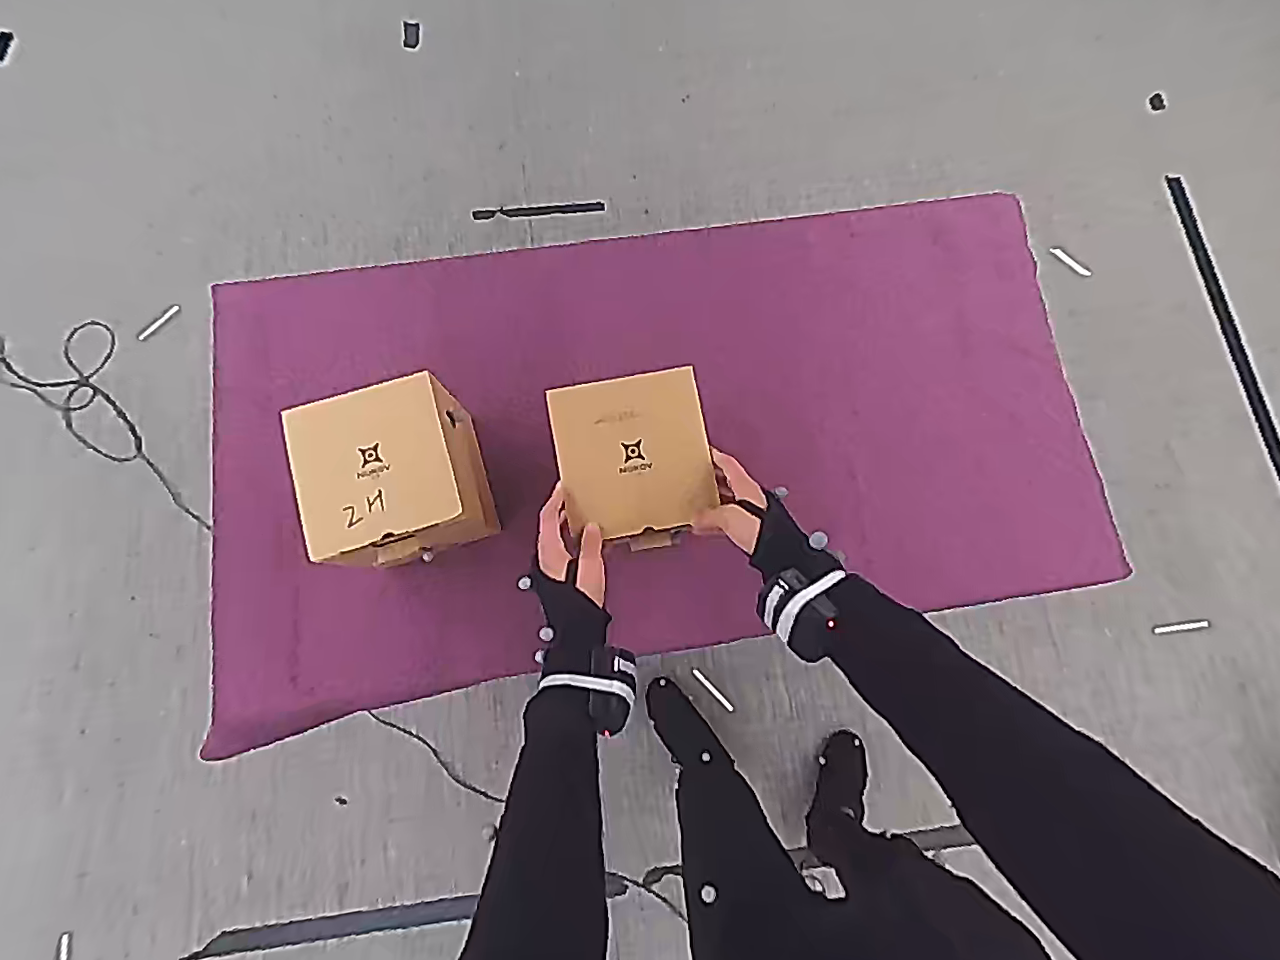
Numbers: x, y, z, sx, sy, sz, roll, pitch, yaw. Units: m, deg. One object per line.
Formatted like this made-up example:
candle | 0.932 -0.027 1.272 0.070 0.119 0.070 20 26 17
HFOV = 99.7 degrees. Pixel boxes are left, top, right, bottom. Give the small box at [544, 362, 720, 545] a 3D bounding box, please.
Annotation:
small box | -0.011 -0.022 0.651 0.168 0.176 0.179 -10 83 -4

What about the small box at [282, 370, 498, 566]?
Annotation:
small box | -0.287 -0.003 0.653 0.168 0.176 0.179 -17 80 -4
